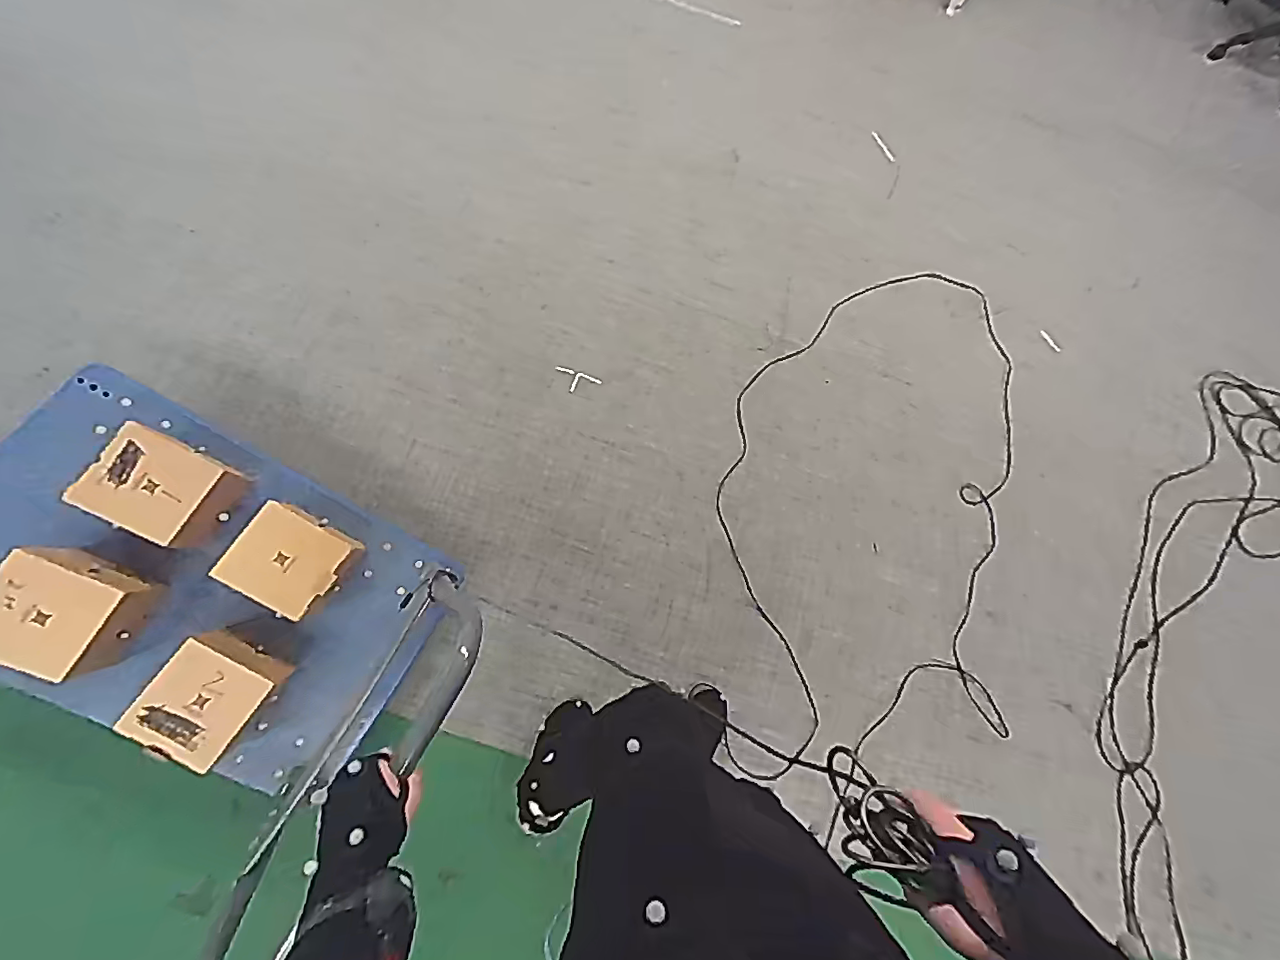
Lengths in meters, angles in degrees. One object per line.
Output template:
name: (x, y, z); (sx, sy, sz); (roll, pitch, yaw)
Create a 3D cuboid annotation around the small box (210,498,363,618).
small box: (-0.691, 0.157, 1.083); (0.179, 0.176, 0.168); (35, 73, -13)

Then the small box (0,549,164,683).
small box: (-1.012, 0.232, 0.957); (0.179, 0.176, 0.168); (30, 73, -13)

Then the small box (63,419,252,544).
small box: (-0.896, 0.013, 1.028); (0.179, 0.176, 0.168); (32, 74, -14)
